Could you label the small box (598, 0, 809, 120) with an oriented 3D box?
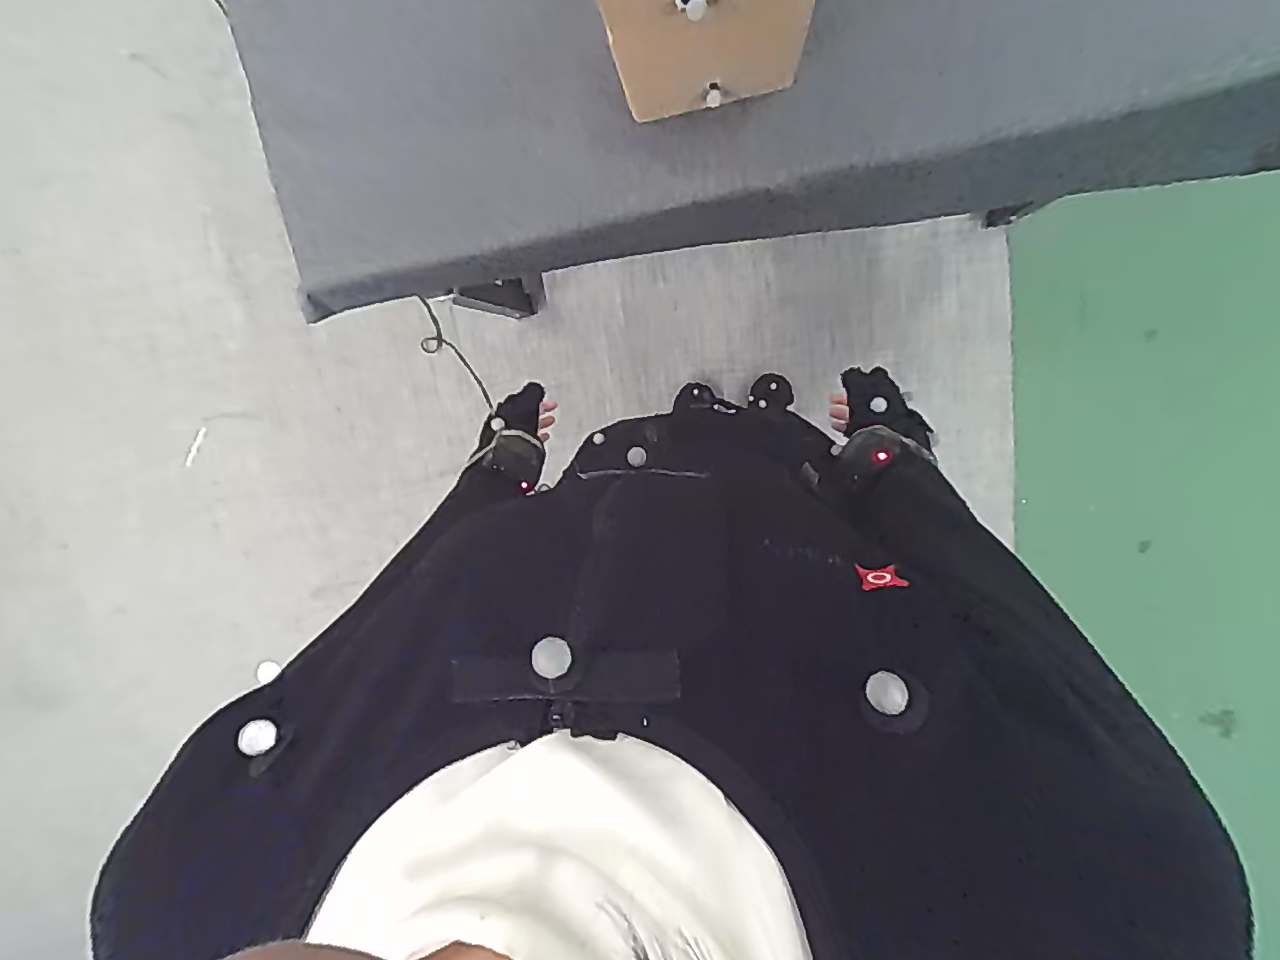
[{"bbox_3d":[0.052,-0.475,0.505,0.179,0.176,0.168,-7,100,9],"label":"small box"}]
